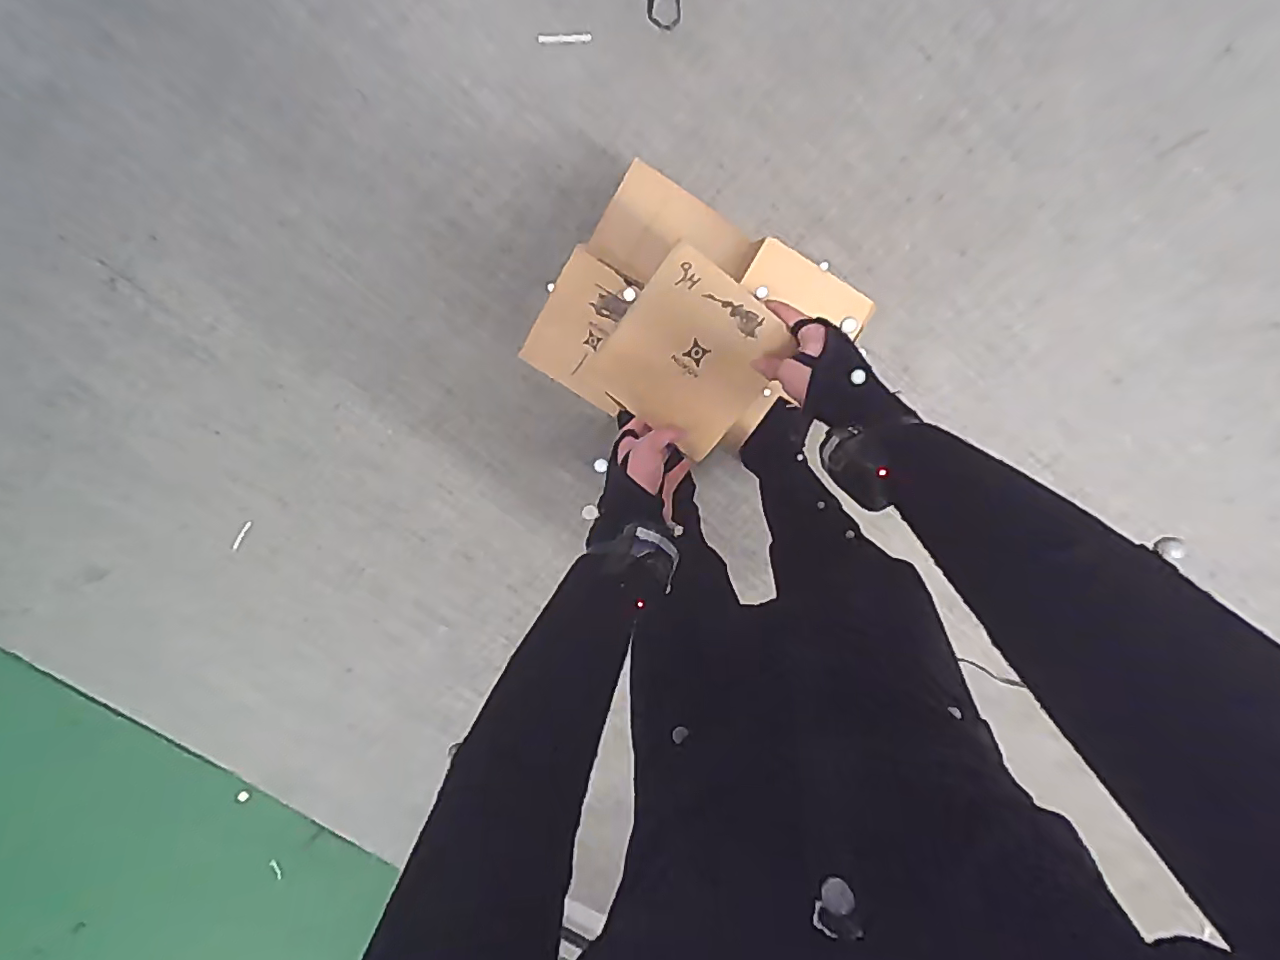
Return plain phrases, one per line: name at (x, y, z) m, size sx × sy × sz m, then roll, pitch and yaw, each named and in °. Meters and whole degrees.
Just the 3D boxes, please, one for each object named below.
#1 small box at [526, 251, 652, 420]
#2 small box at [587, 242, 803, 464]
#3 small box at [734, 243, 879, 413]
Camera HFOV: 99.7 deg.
small box at (-0.044, -0.225, 0.820) m, size 0.168 × 0.176 × 0.179 m, roll 32°, pitch 114°, yaw -8°
small box at (0.063, -0.155, 0.645) m, size 0.168 × 0.176 × 0.179 m, roll 36°, pitch 111°, yaw -10°
small box at (0.207, -0.225, 0.800) m, size 0.179 × 0.176 × 0.168 m, roll 29°, pitch 107°, yaw -5°
